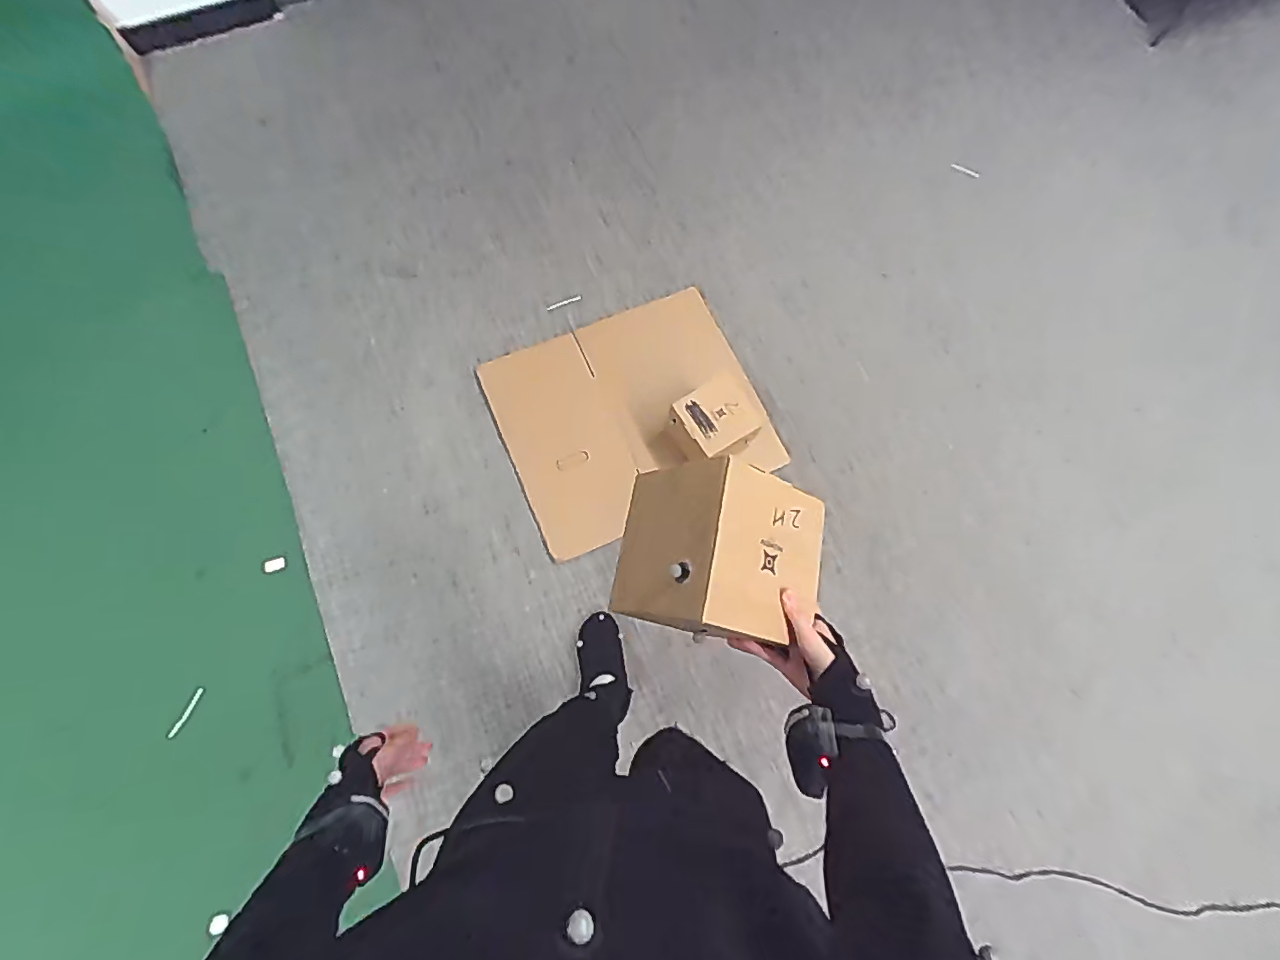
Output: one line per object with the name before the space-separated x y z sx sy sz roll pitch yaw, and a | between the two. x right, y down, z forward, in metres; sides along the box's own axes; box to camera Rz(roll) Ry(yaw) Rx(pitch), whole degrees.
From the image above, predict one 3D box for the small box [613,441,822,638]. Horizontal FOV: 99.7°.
small box | 0.088 0.077 0.639 0.168 0.176 0.179 23 69 -31
